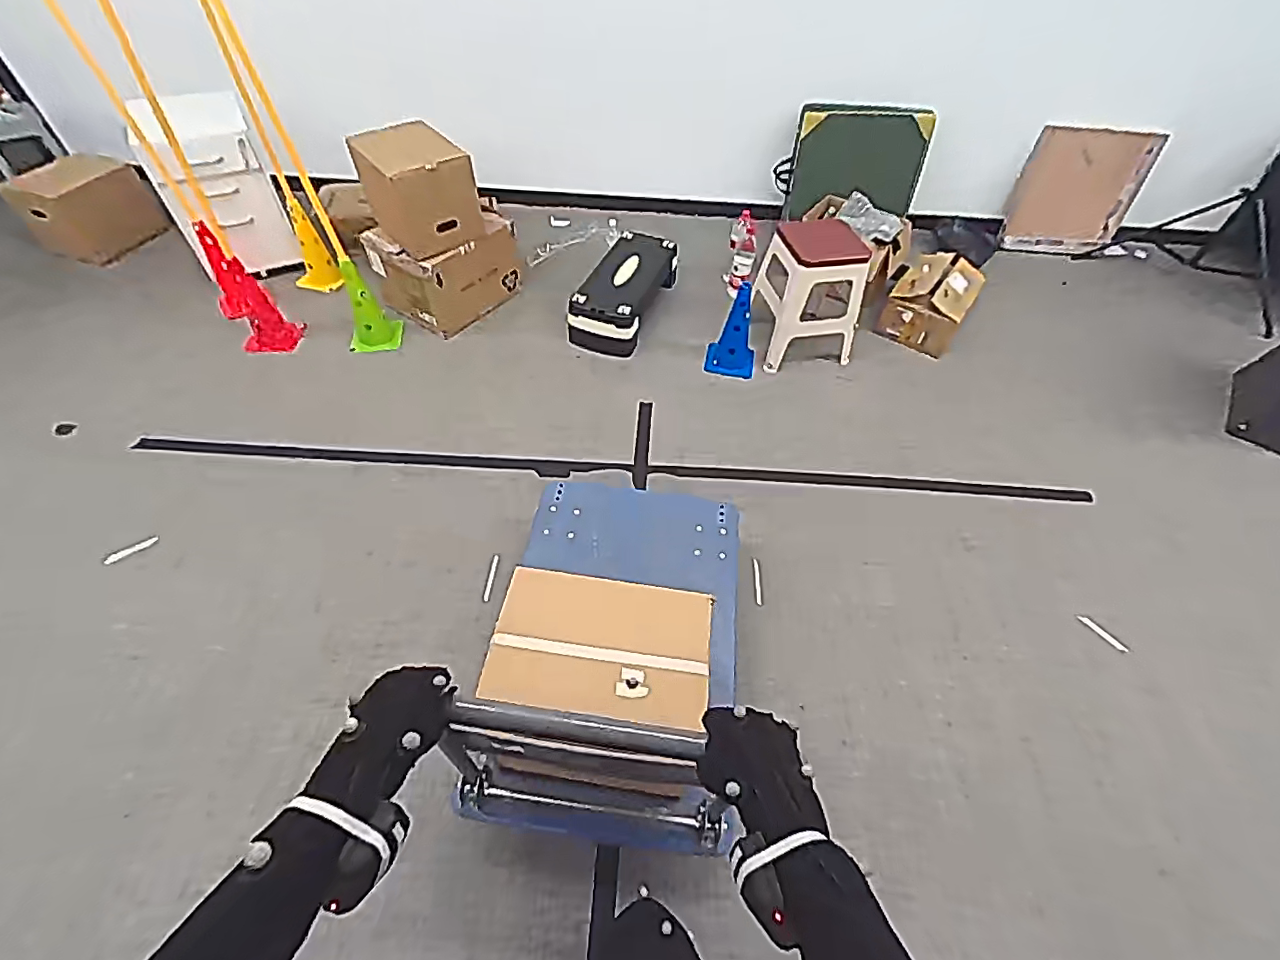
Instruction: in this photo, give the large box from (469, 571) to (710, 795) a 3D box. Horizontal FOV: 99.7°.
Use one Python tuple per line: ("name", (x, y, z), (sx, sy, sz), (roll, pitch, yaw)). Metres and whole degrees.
("large box", (-0.086, 0.420, 1.106), (0.408, 0.320, 0.320), (9, 51, 2))
